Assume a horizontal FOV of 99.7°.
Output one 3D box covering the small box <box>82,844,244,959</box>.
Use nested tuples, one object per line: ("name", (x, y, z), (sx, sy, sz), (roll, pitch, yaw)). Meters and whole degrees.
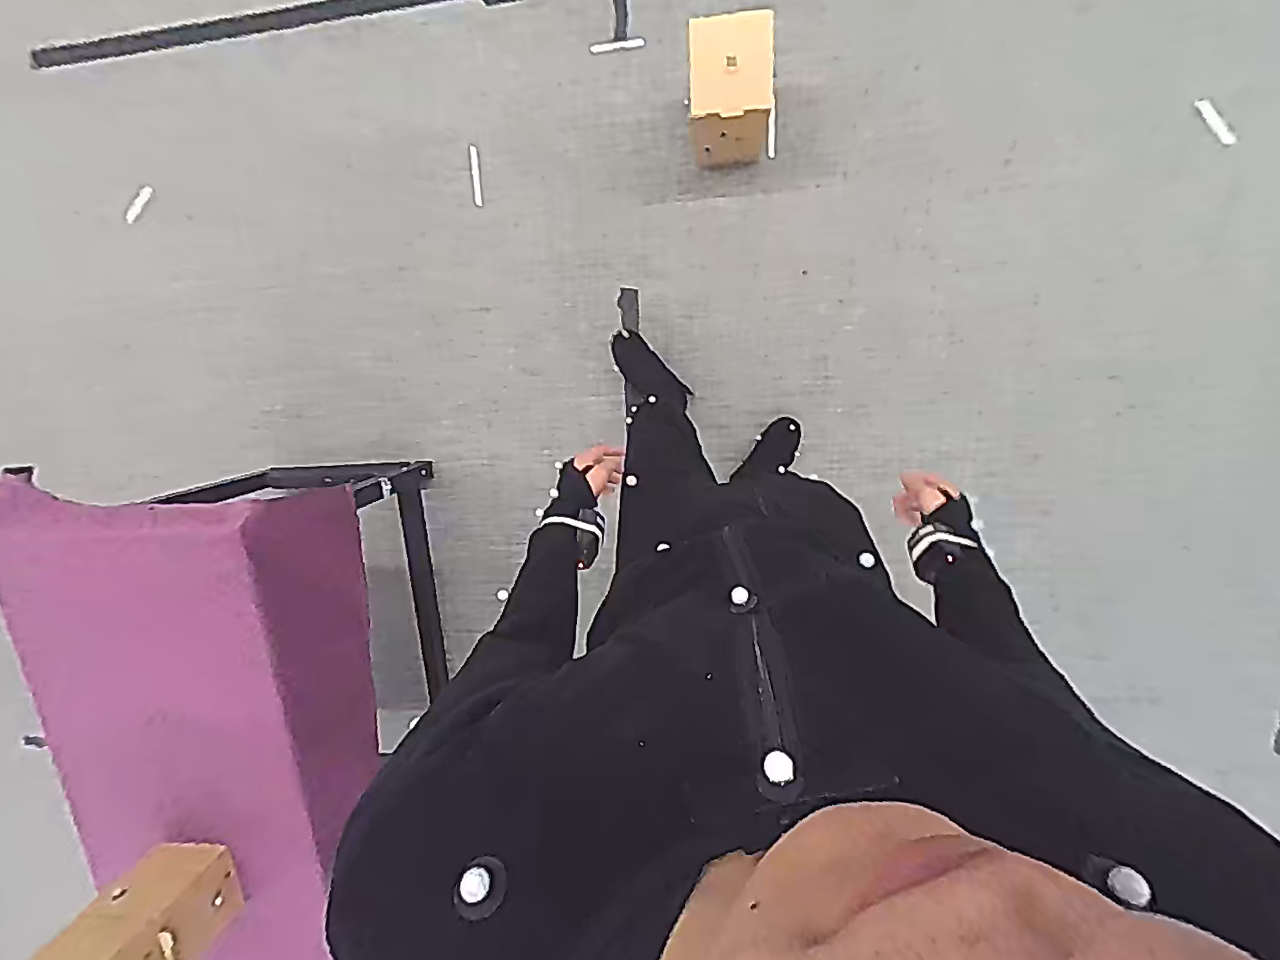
("small box", (-0.985, 0.902, 1.131), (0.179, 0.176, 0.168), (-2, 103, 8))

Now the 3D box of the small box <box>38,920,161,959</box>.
("small box", (-1.007, 0.939, 0.973), (0.179, 0.176, 0.168), (-6, 101, 10))

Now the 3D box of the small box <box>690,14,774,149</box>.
("small box", (0.192, -0.842, 1.159), (0.168, 0.176, 0.179), (-1, 102, 7))
